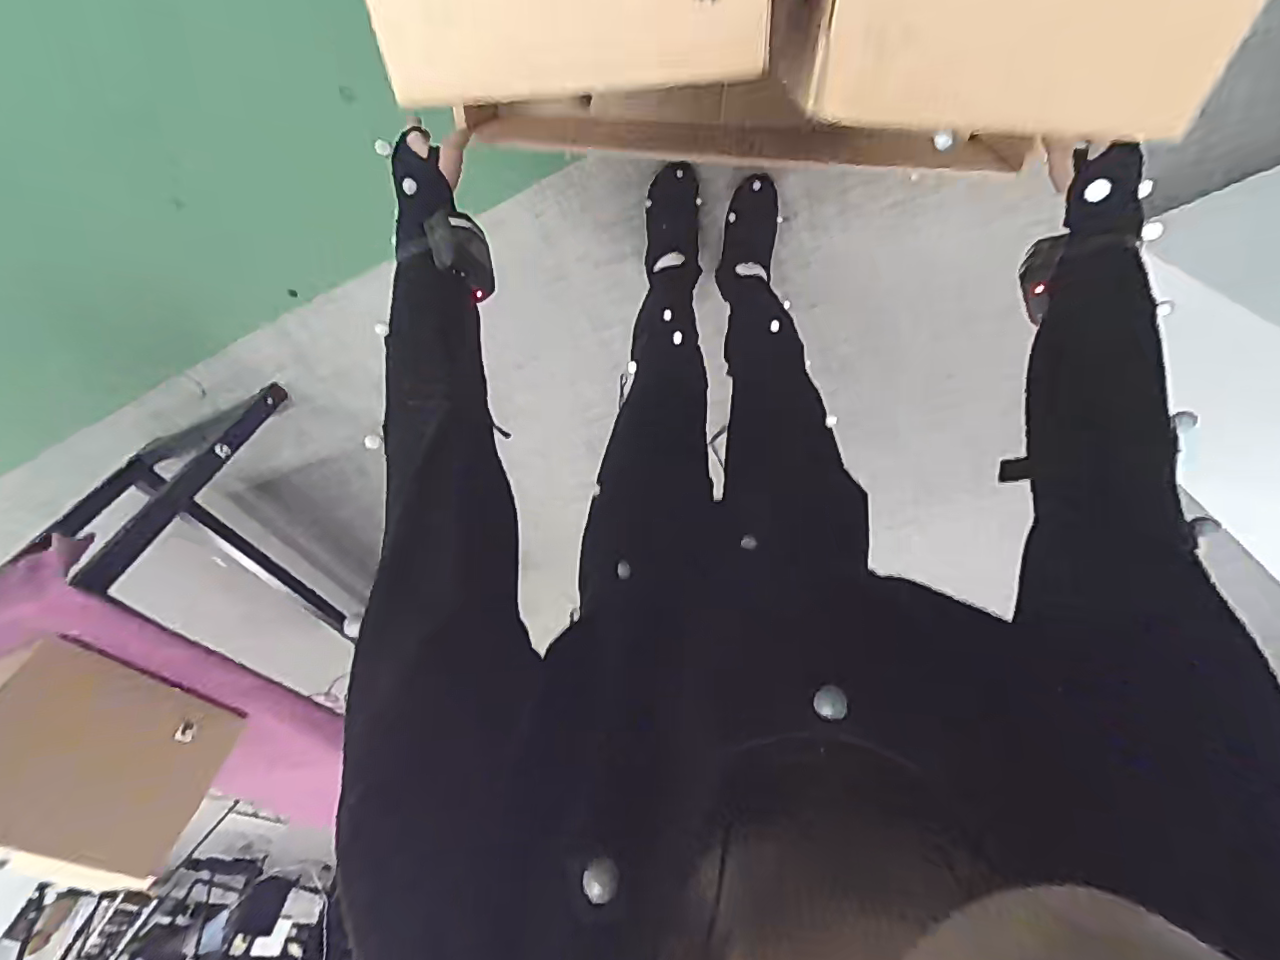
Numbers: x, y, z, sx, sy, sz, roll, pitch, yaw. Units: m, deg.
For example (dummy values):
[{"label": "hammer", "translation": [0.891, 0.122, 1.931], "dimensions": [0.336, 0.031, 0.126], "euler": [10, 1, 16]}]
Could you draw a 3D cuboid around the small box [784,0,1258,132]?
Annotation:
[{"label": "small box", "translation": [0.175, -0.283, 0.260], "dimensions": [0.179, 0.176, 0.168], "euler": [5, 132, 3]}]

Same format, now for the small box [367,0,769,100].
[{"label": "small box", "translation": [-0.033, -0.298, 0.258], "dimensions": [0.179, 0.176, 0.168], "euler": [-2, 131, 6]}]
